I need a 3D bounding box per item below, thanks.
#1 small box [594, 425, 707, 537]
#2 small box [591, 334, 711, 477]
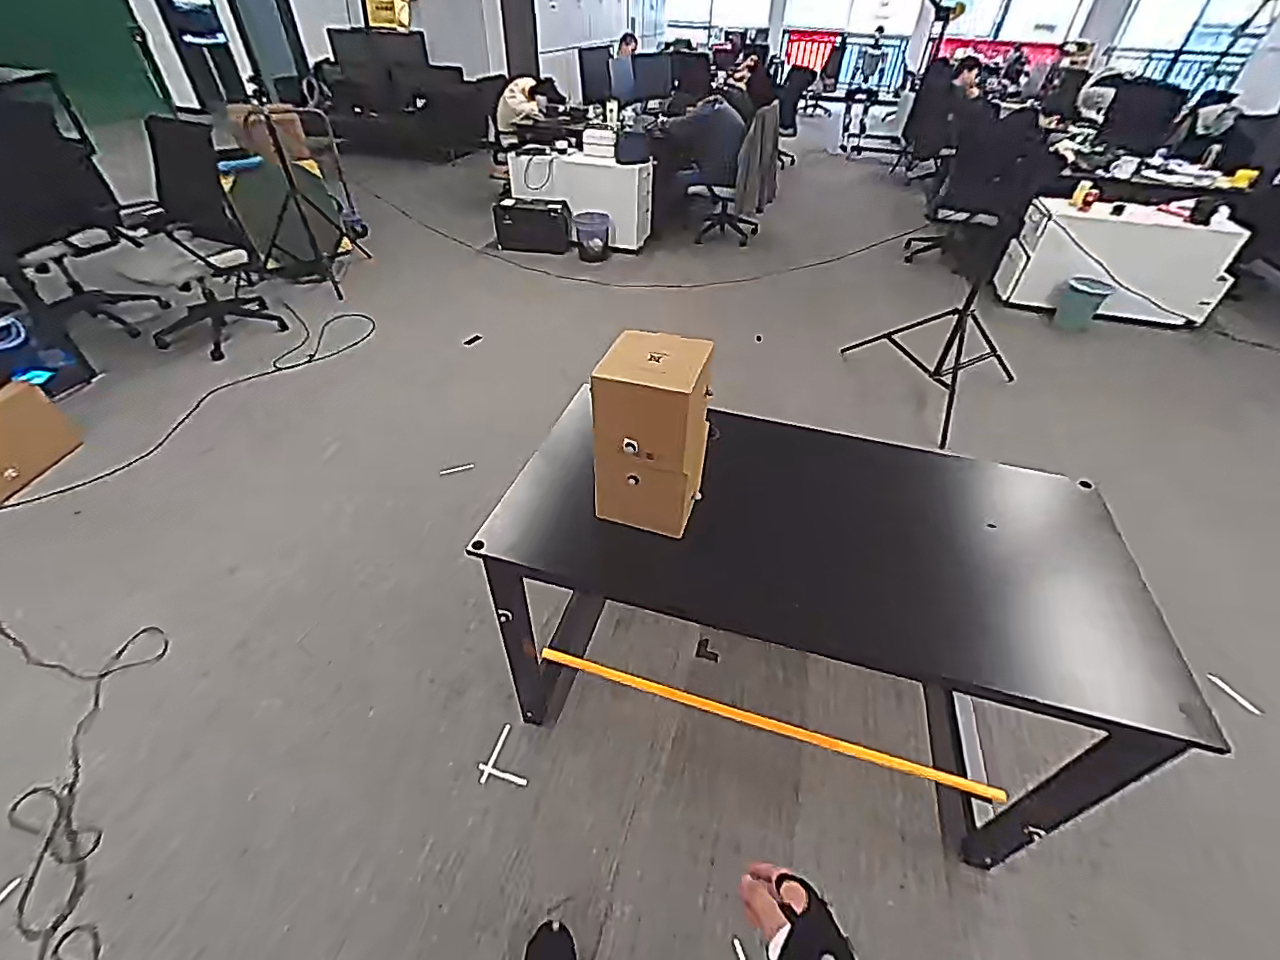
[{"bbox_3d":[0.020,-0.012,1.061,0.179,0.176,0.168,14,43,12],"label":"small box"},{"bbox_3d":[0.022,-0.134,0.953,0.168,0.176,0.179,11,43,13],"label":"small box"}]
